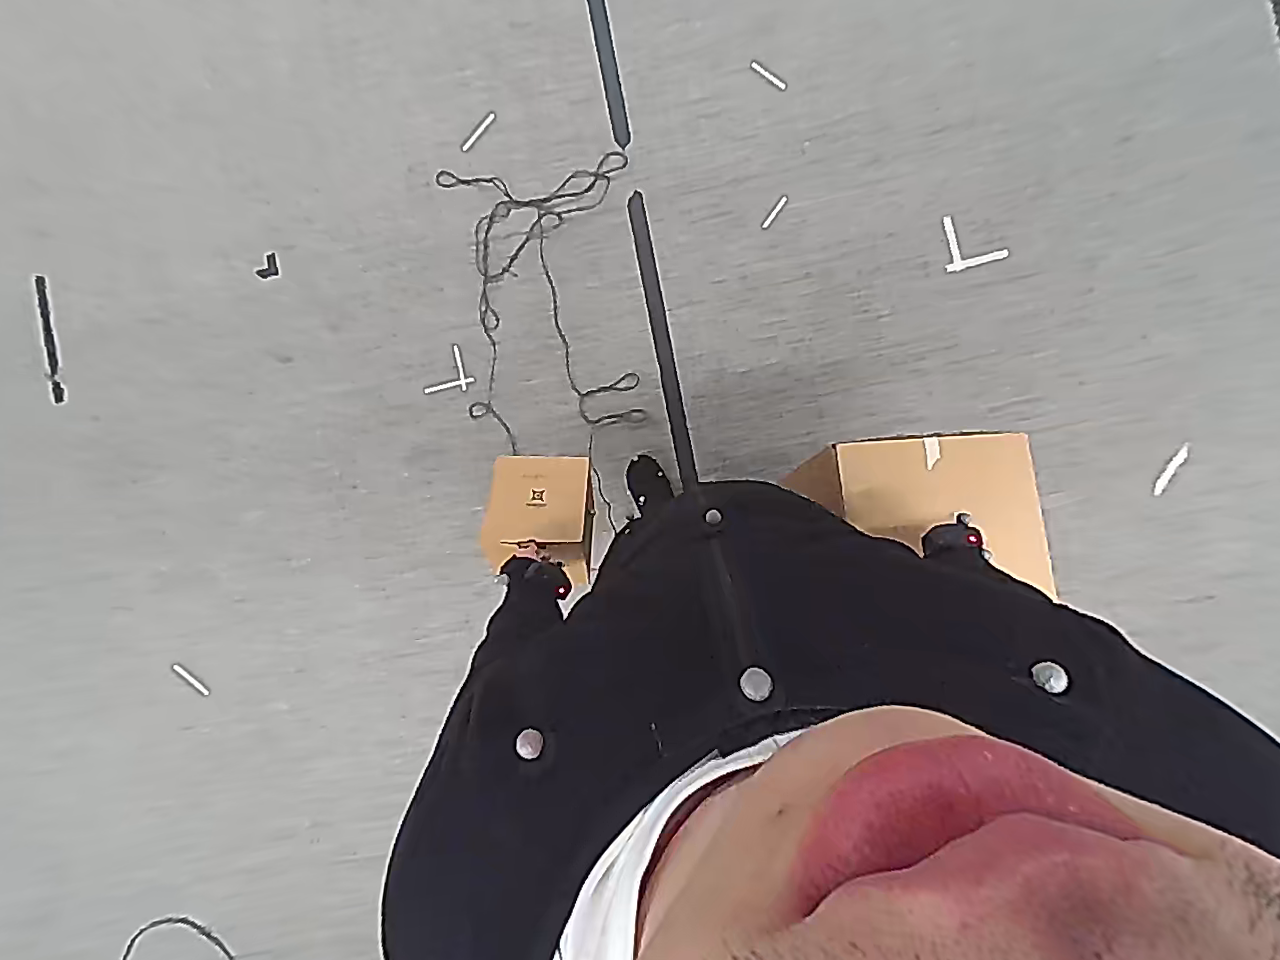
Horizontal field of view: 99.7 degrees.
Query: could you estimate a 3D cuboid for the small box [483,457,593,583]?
[{"bbox_3d":[-0.174,0.077,0.987,0.168,0.176,0.179,1,55,-1],"label":"small box"}]
